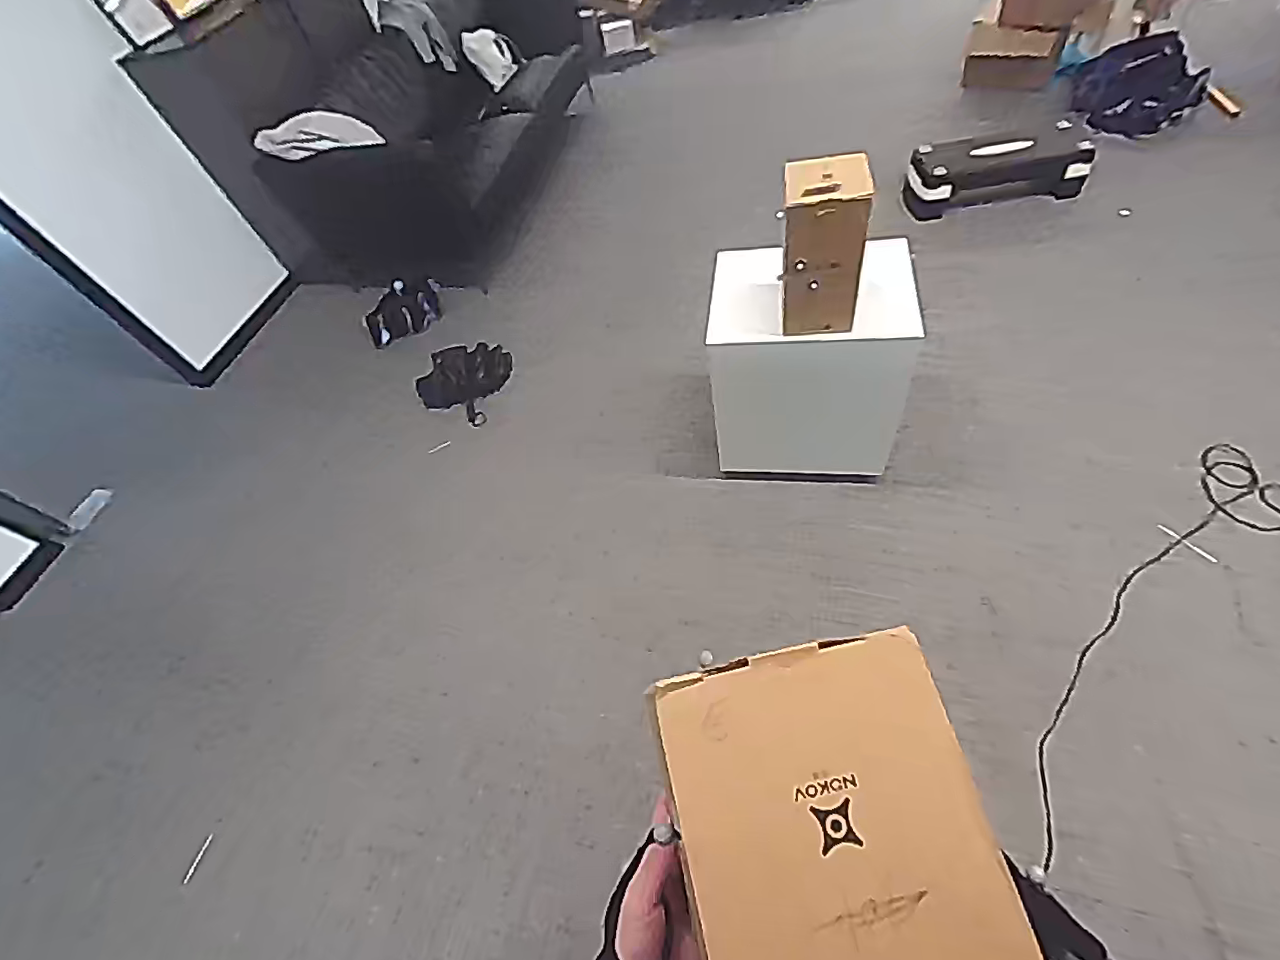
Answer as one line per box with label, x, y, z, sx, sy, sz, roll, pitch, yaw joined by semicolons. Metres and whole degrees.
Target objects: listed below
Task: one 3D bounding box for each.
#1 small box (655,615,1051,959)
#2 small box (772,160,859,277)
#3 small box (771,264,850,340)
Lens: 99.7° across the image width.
small box;0.108;0.207;0.368;0.168;0.176;0.179;-11;68;-6
small box;0.376;-0.563;1.184;0.168;0.176;0.179;-1;53;12
small box;0.406;-0.466;1.314;0.168;0.176;0.179;-2;53;12
